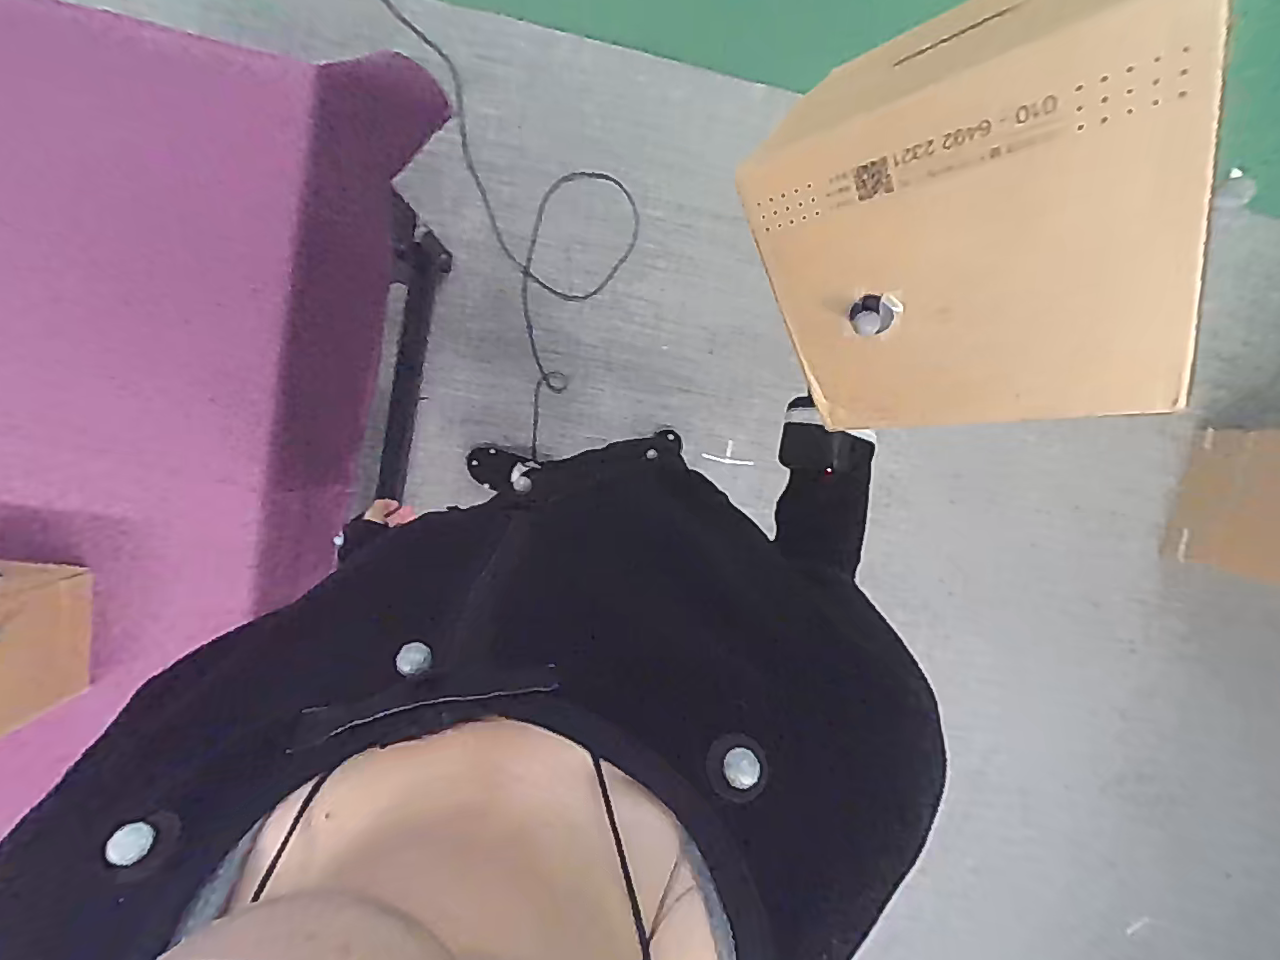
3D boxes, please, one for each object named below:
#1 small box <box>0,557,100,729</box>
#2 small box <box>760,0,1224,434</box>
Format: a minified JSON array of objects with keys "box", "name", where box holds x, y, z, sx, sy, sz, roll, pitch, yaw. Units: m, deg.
[{"box":[-0.816,0.203,0.656,0.168,0.176,0.179,6,95,-5],"name":"small box"},{"box":[0.188,-0.148,0.298,0.179,0.168,0.176,-55,129,-33],"name":"small box"}]
